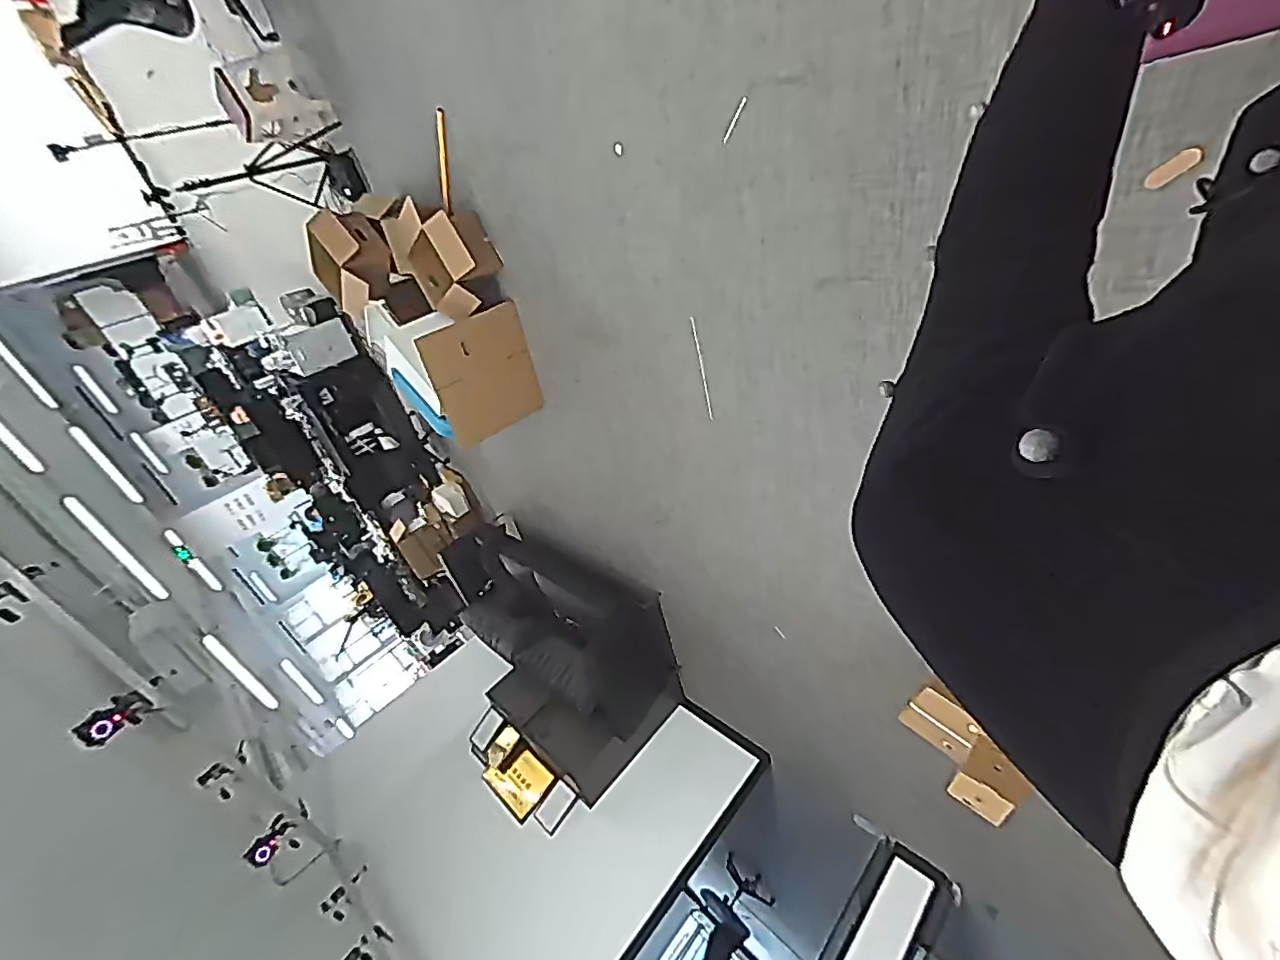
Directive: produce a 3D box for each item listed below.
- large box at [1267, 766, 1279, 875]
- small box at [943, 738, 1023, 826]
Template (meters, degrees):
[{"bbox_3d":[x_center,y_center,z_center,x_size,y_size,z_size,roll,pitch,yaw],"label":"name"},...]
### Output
[{"bbox_3d":[1.893,0.961,1.316,0.320,0.320,0.408,54,148,-5],"label":"large box"},{"bbox_3d":[1.173,1.024,1.844,0.168,0.176,0.179,29,140,35],"label":"small box"}]
